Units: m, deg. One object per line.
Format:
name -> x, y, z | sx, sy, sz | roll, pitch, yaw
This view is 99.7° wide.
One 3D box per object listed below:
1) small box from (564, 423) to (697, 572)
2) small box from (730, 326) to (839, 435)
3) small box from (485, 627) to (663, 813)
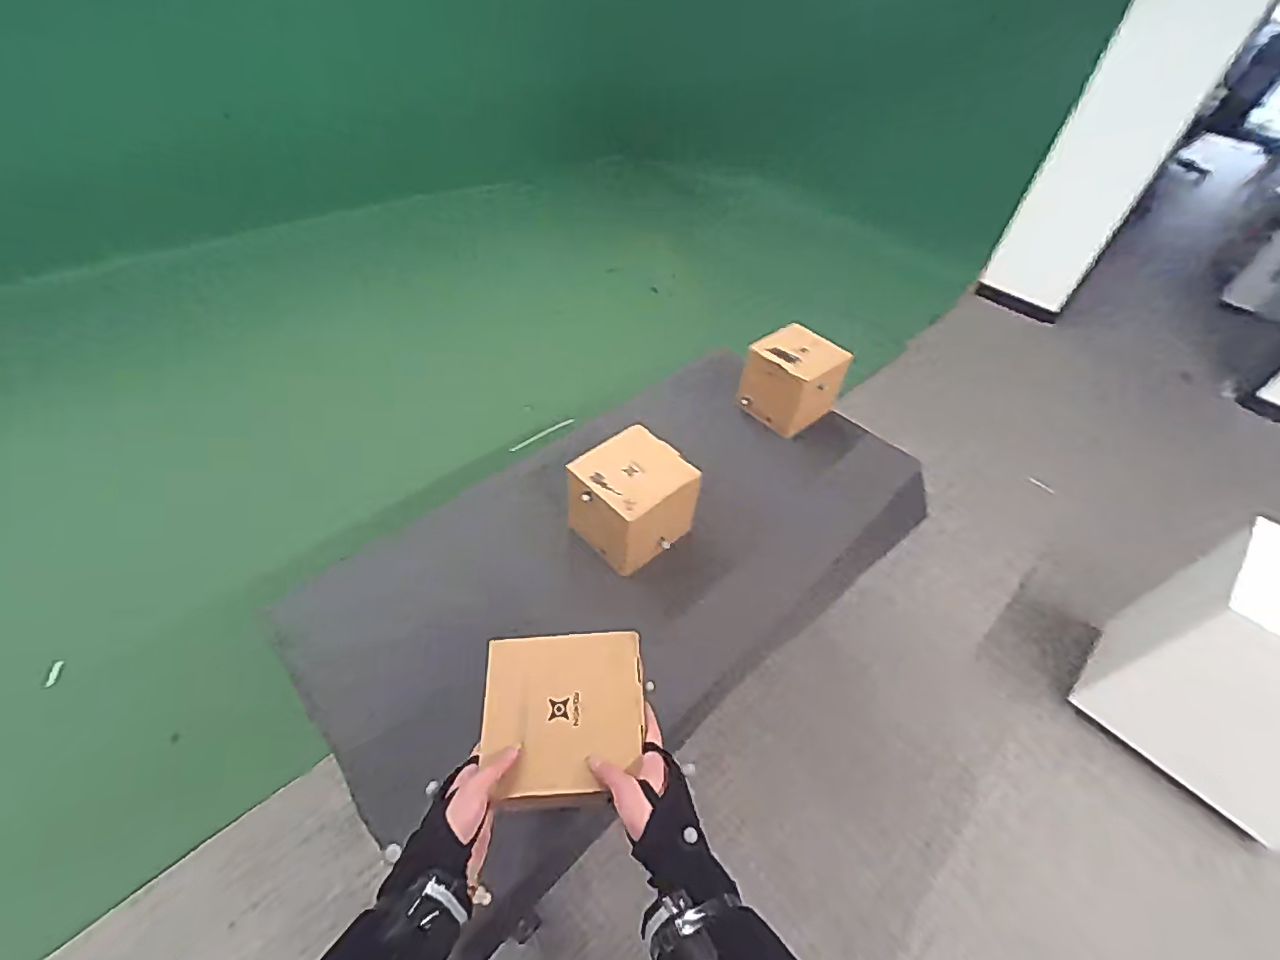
small box -> -0.026, 0.031, 0.988 | 0.179, 0.176, 0.168 | -32, 59, -33
small box -> 0.333, -0.234, 1.290 | 0.179, 0.176, 0.168 | -30, 59, -32
small box -> -0.070, 0.285, 0.636 | 0.179, 0.176, 0.168 | -4, 54, -2
